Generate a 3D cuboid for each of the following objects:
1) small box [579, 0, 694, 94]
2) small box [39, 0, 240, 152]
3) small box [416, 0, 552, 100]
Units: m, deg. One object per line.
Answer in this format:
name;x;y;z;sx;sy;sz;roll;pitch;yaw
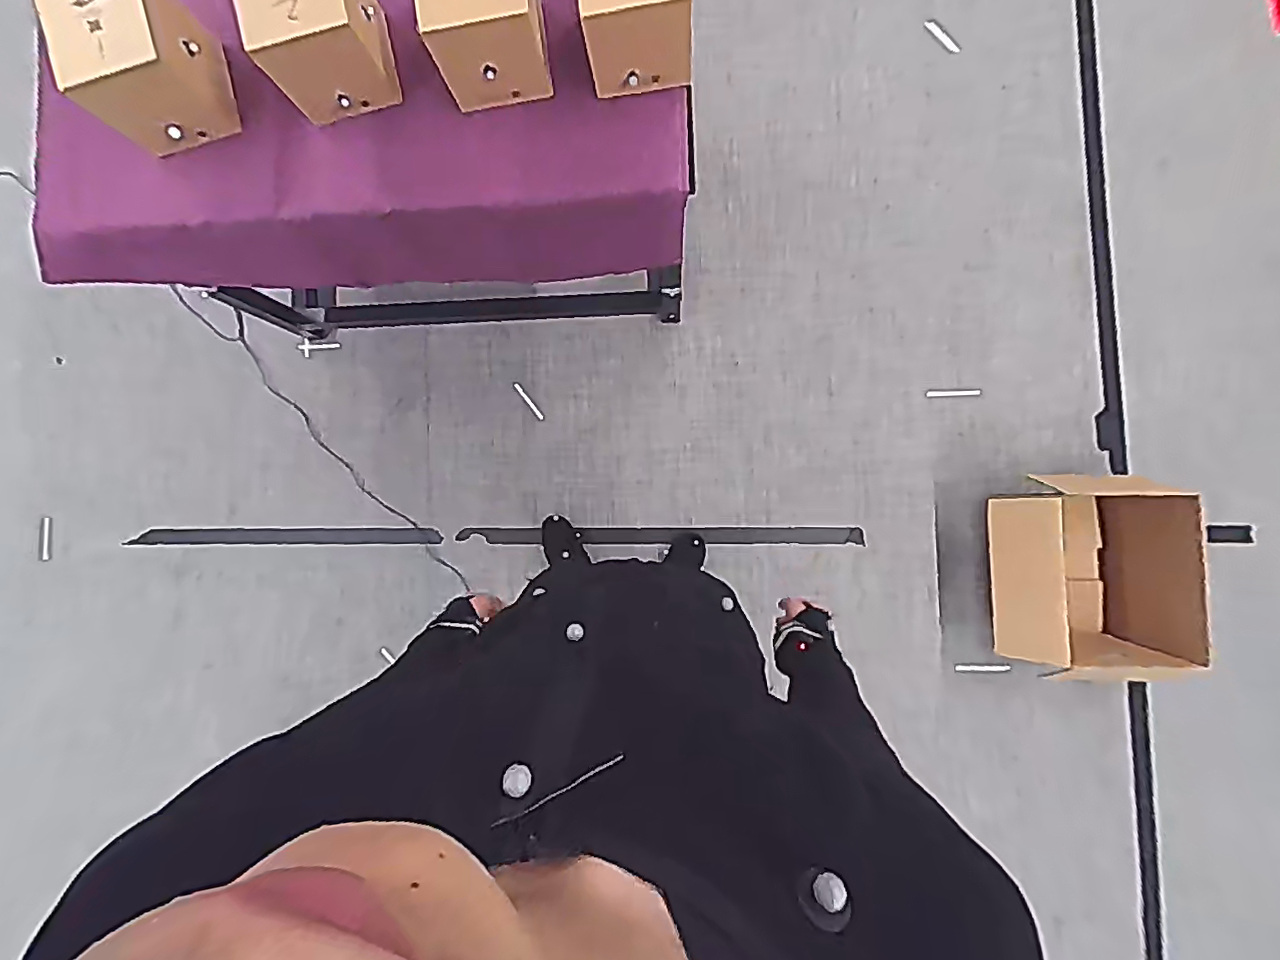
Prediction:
small box;-0.007;-0.757;0.848;0.168;0.176;0.179;-6;87;5
small box;-0.815;-0.693;0.895;0.168;0.176;0.179;-15;88;3
small box;-0.245;-0.746;0.863;0.168;0.176;0.179;-8;87;3
